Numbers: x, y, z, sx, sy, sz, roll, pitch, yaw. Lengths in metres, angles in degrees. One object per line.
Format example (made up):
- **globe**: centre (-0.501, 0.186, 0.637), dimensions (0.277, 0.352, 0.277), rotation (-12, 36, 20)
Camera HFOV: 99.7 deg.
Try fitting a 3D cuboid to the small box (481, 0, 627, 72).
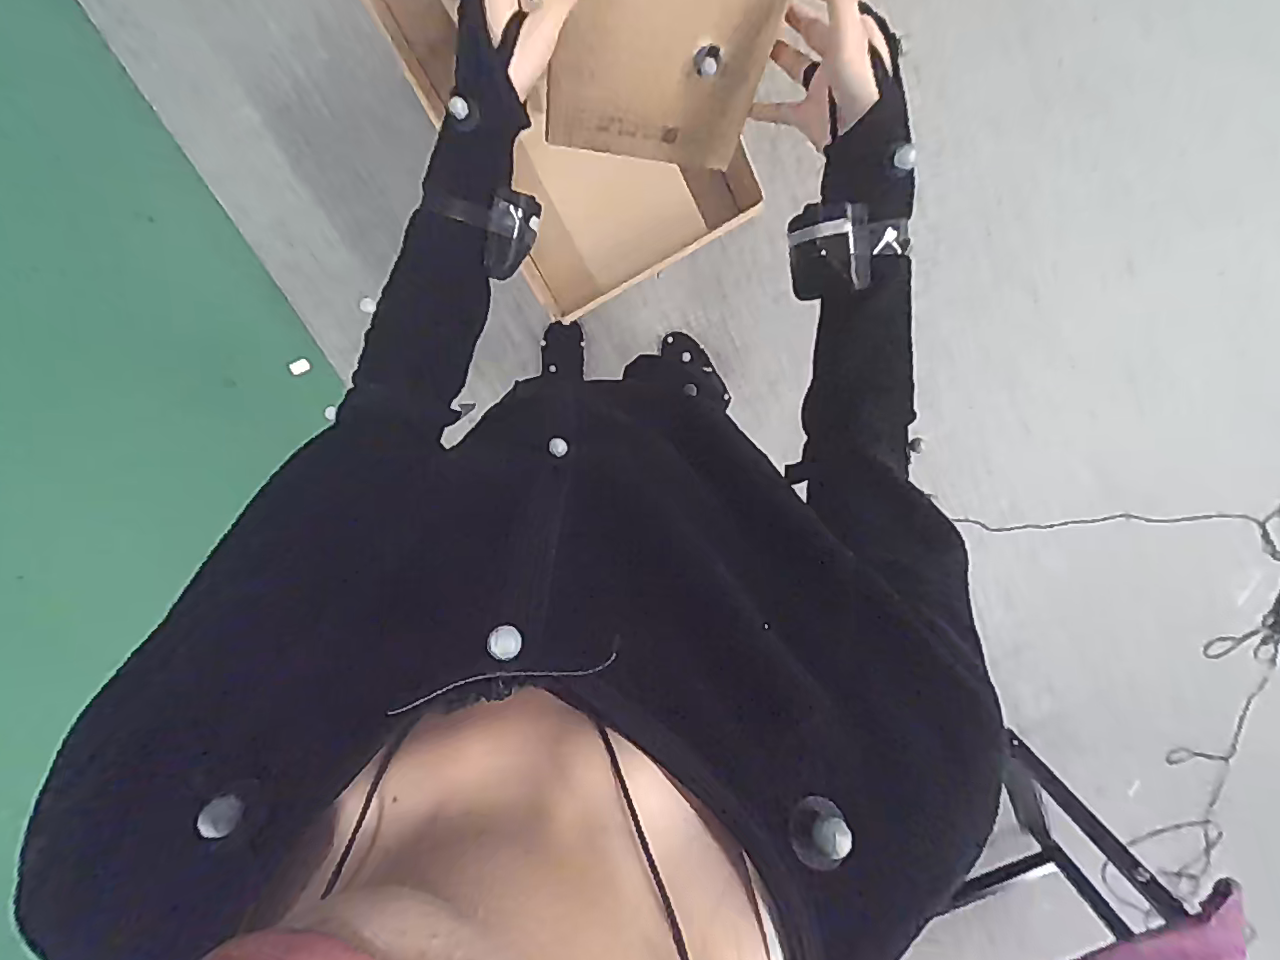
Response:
- **small box**: centre (-0.119, -0.629, 0.639), dimensions (0.168, 0.176, 0.179), rotation (-33, 110, 6)
